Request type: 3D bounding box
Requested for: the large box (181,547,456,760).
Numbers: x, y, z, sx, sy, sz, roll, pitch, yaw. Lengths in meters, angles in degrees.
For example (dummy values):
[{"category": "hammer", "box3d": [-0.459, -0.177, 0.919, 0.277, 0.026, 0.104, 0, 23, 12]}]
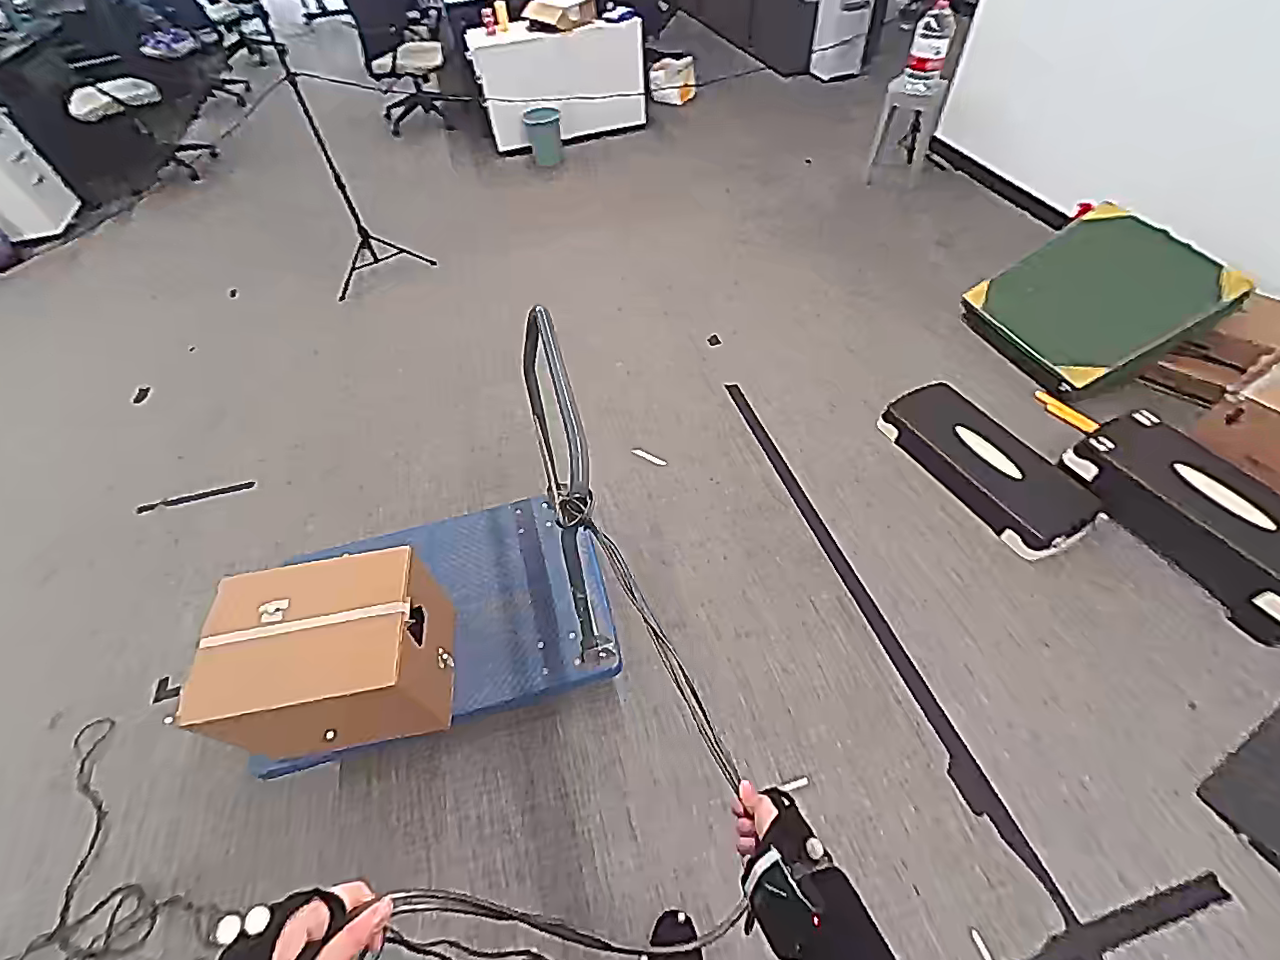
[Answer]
[{"category": "large box", "box3d": [-0.654, 0.390, 1.197, 0.408, 0.320, 0.320, -10, 51, -3]}]
